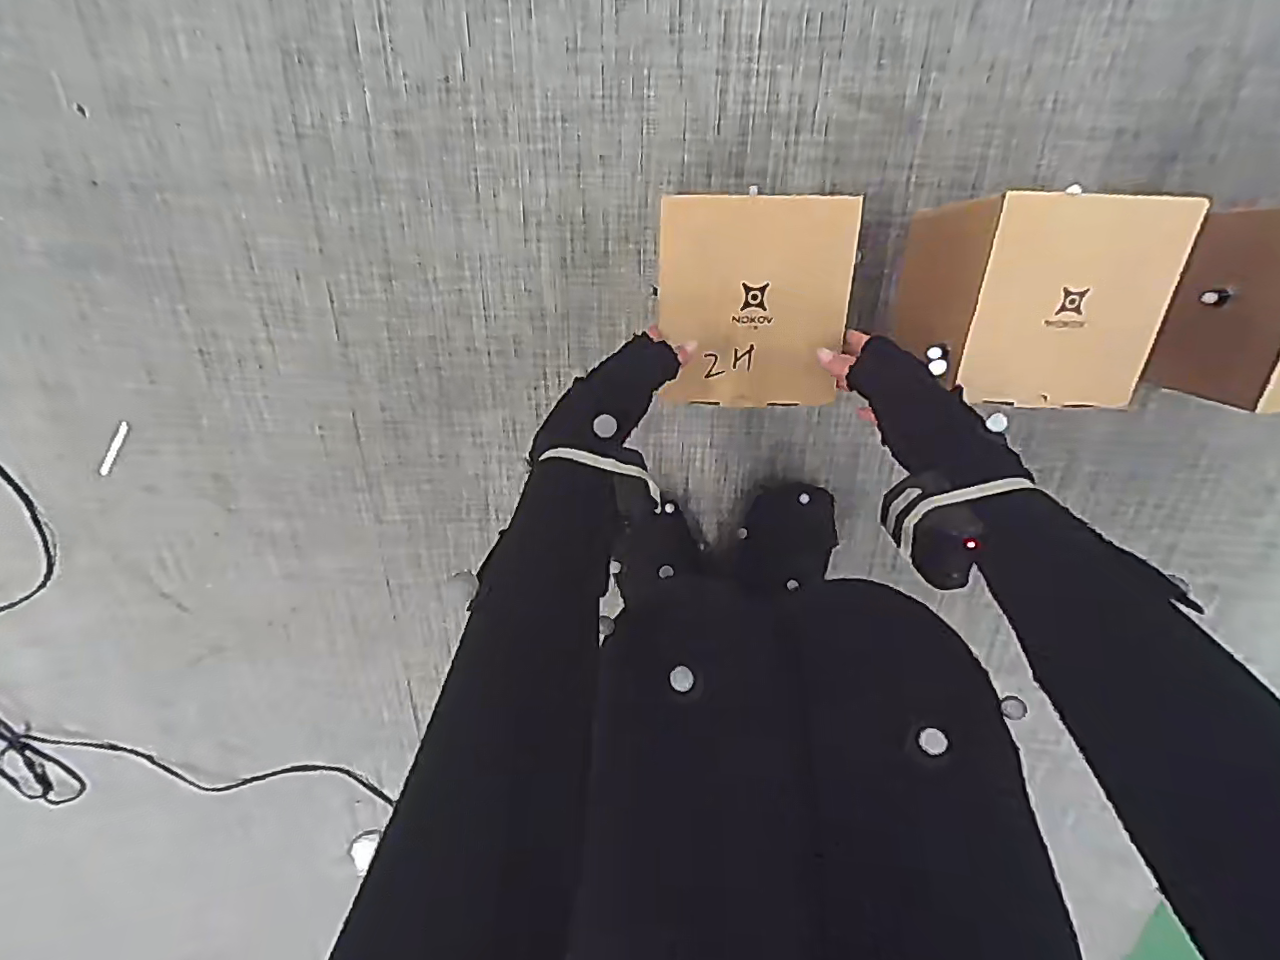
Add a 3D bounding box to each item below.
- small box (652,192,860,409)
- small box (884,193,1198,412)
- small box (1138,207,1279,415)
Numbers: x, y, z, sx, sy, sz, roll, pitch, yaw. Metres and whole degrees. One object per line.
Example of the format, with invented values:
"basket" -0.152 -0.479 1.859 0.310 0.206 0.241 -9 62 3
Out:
"small box" 0.098 -0.178 0.542 0.168 0.176 0.179 2 112 2
"small box" 0.367 -0.175 0.539 0.168 0.176 0.179 2 112 1
"small box" 0.636 -0.169 0.532 0.168 0.176 0.179 0 111 2
